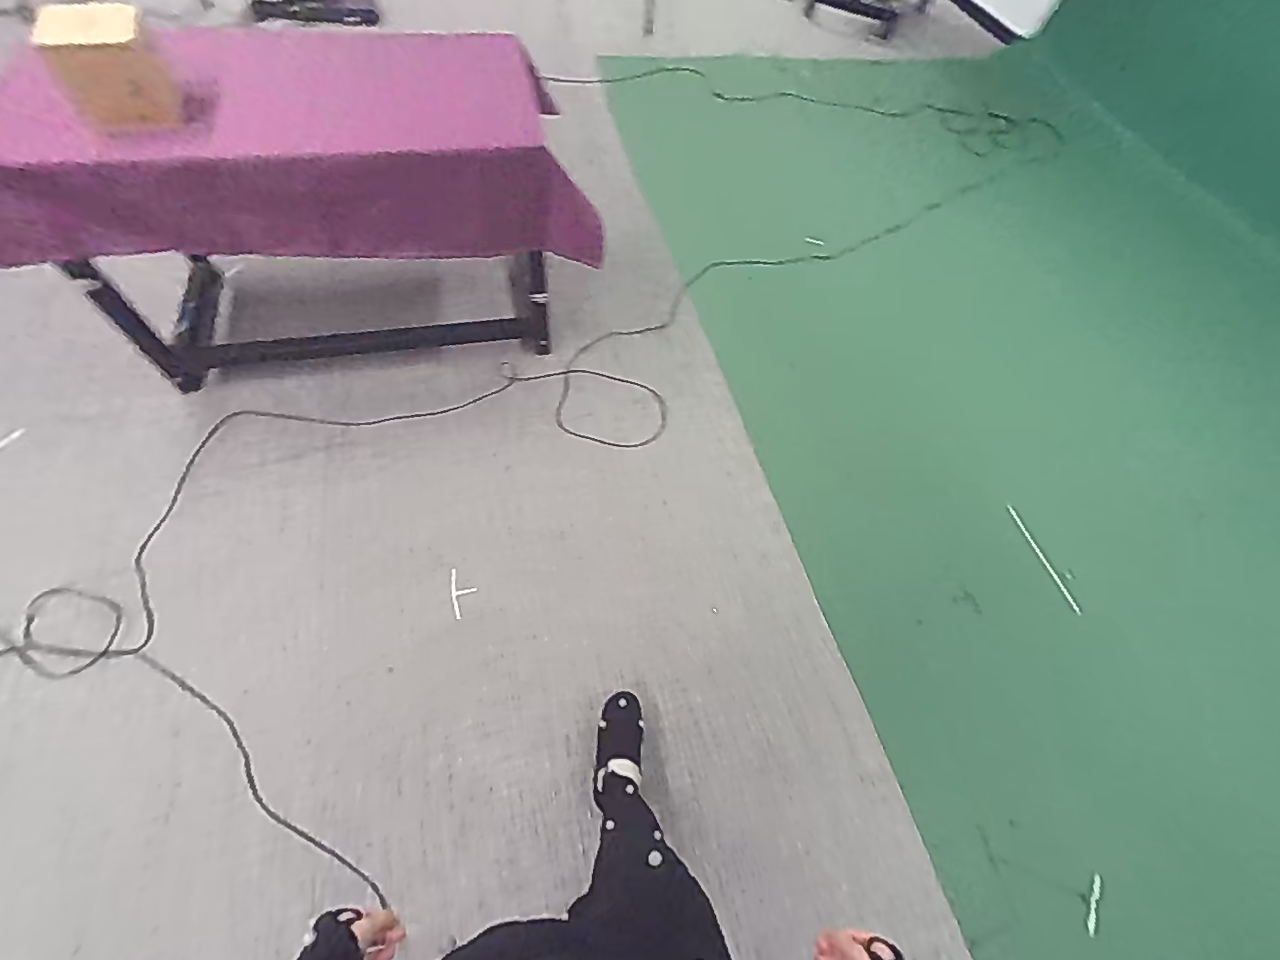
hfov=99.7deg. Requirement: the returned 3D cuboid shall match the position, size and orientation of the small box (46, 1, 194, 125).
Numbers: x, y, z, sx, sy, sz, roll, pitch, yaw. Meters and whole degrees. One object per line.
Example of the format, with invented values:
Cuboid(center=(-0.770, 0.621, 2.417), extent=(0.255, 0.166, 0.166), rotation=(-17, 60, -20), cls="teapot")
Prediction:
Cuboid(center=(-1.106, -0.893, 1.167), extent=(0.168, 0.176, 0.179), rotation=(-14, 62, -16), cls="small box")
